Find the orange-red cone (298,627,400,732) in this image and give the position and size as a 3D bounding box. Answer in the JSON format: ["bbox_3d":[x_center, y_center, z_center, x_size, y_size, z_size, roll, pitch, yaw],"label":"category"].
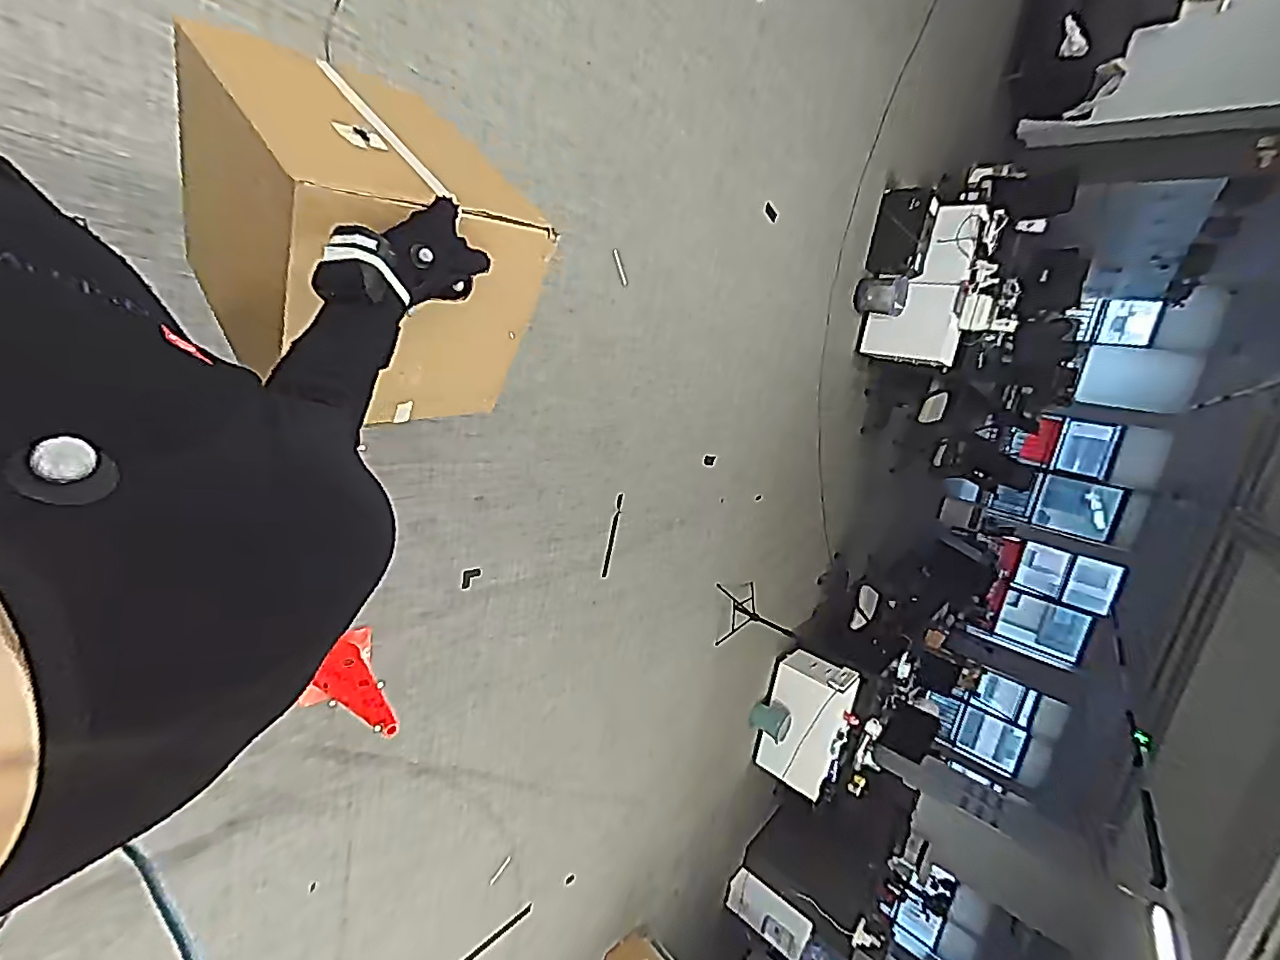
[{"bbox_3d":[-0.772,0.589,1.498,0.198,0.360,0.199,-8,110,-51],"label":"orange-red cone"}]

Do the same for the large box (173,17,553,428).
[{"bbox_3d":[-0.401,-0.330,0.760,0.320,0.408,0.320,-15,148,-46],"label":"large box"}]
